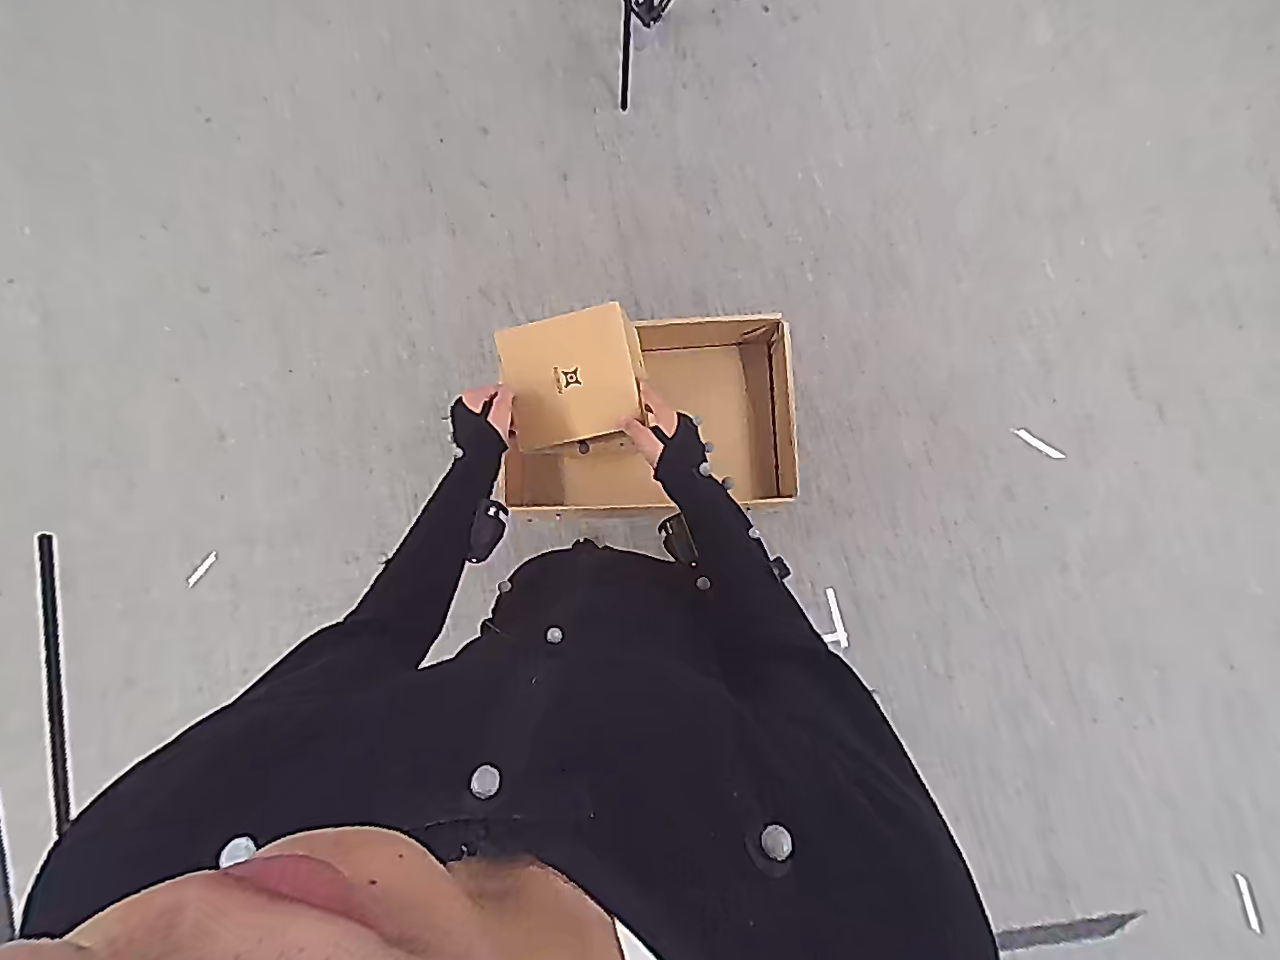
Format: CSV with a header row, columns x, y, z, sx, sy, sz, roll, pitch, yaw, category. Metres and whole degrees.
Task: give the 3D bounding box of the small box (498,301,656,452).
x,y,z,sx,sy,sz,roll,pitch,yaw,category
-0.078,-0.140,0.781,0.179,0.176,0.168,-12,92,9,small box
